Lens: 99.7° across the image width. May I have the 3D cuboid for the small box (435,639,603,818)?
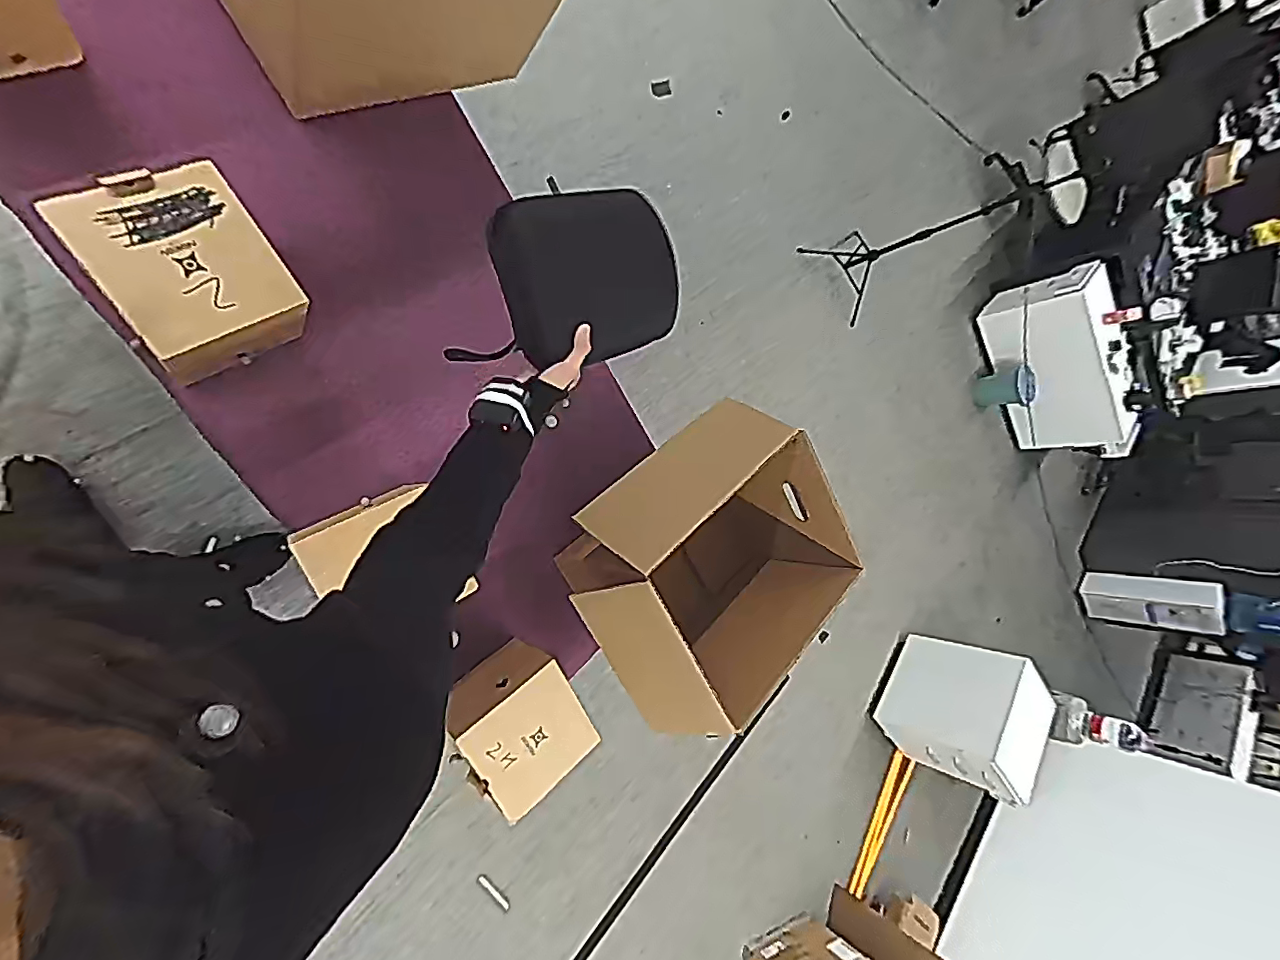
[{"bbox_3d":[-0.198,0.381,0.869,0.179,0.176,0.168,-35,106,-31],"label":"small box"}]

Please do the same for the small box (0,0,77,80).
[{"bbox_3d":[-0.740,-0.541,0.540,0.168,0.176,0.179,-43,112,-28],"label":"small box"}]
